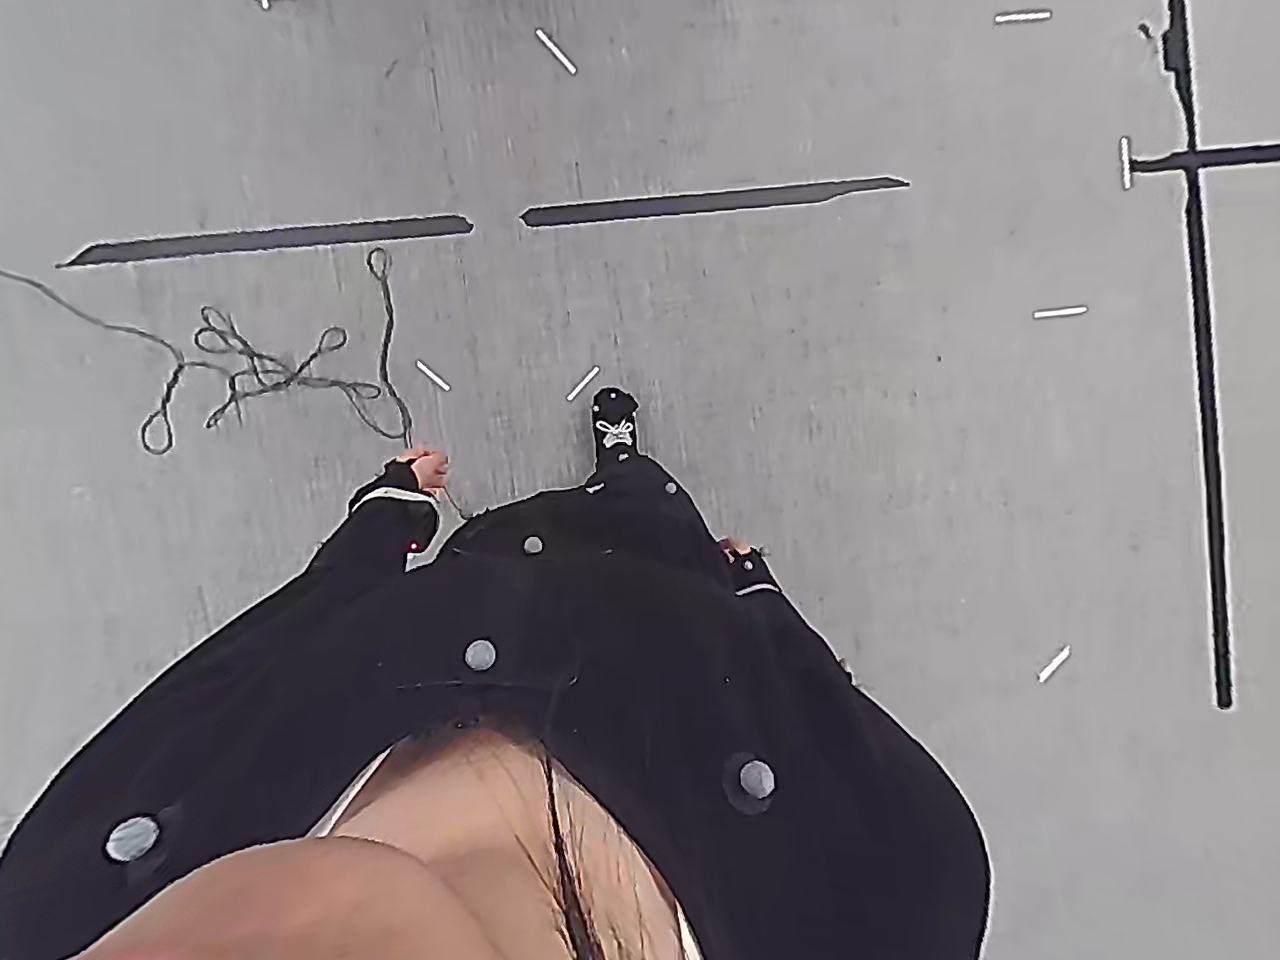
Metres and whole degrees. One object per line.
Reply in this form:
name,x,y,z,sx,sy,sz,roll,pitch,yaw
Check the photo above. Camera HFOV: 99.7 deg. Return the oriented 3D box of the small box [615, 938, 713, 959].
small box,0.045,0.869,0.853,0.168,0.176,0.179,-2,93,-3
